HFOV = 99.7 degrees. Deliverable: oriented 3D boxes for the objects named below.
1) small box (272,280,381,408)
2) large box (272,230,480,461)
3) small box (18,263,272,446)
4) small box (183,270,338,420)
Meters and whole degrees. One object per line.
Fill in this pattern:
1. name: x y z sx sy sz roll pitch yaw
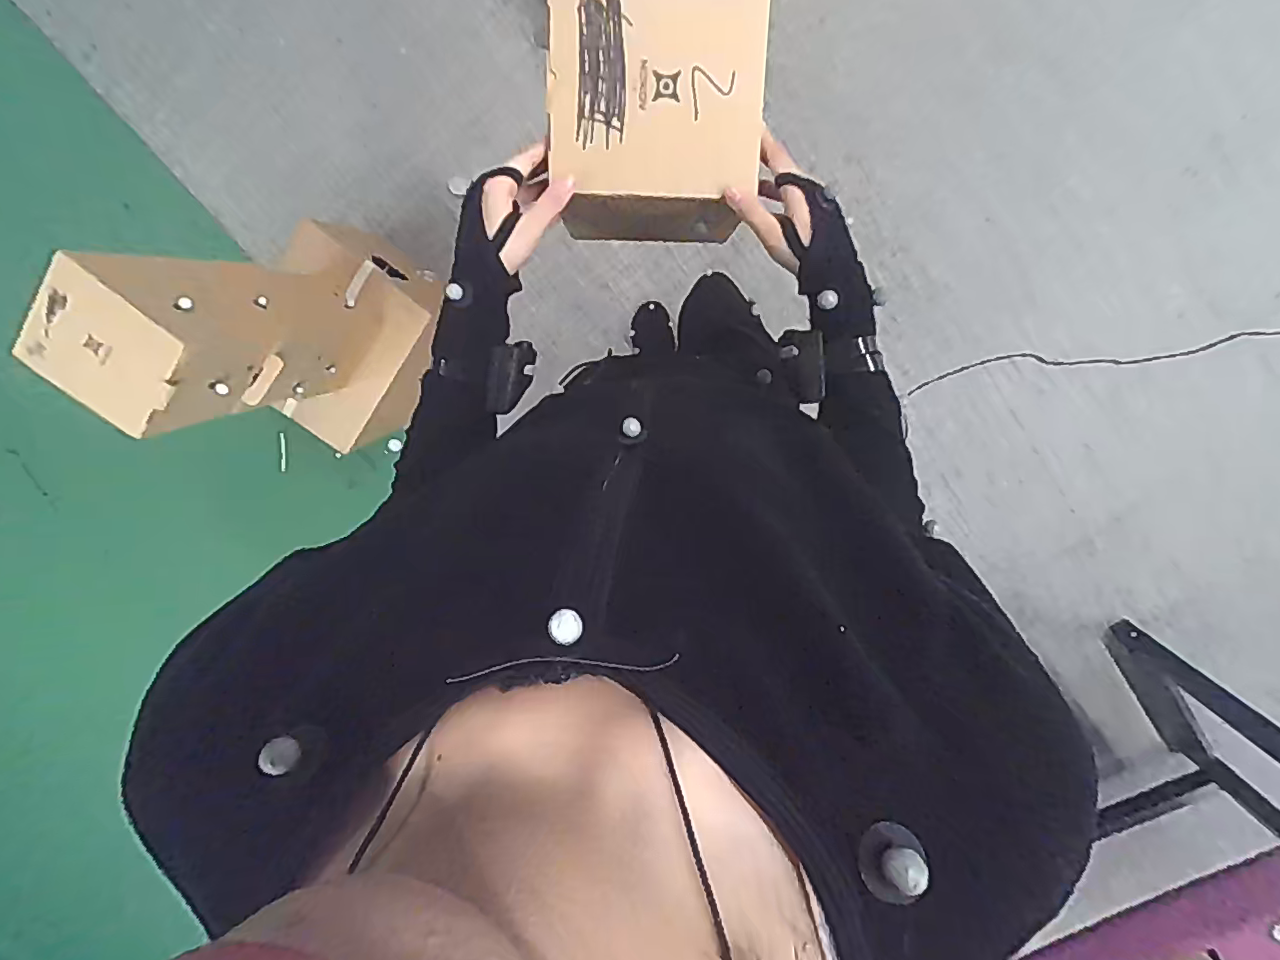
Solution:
1. small box: -0.657 -0.272 1.077 0.168 0.176 0.179 40 105 -10
2. large box: -0.659 -0.325 1.318 0.320 0.320 0.408 37 107 -7
3. small box: -0.676 -0.181 0.762 0.179 0.176 0.168 40 105 -11
4. small box: -0.663 -0.232 0.918 0.179 0.176 0.168 42 105 -10
